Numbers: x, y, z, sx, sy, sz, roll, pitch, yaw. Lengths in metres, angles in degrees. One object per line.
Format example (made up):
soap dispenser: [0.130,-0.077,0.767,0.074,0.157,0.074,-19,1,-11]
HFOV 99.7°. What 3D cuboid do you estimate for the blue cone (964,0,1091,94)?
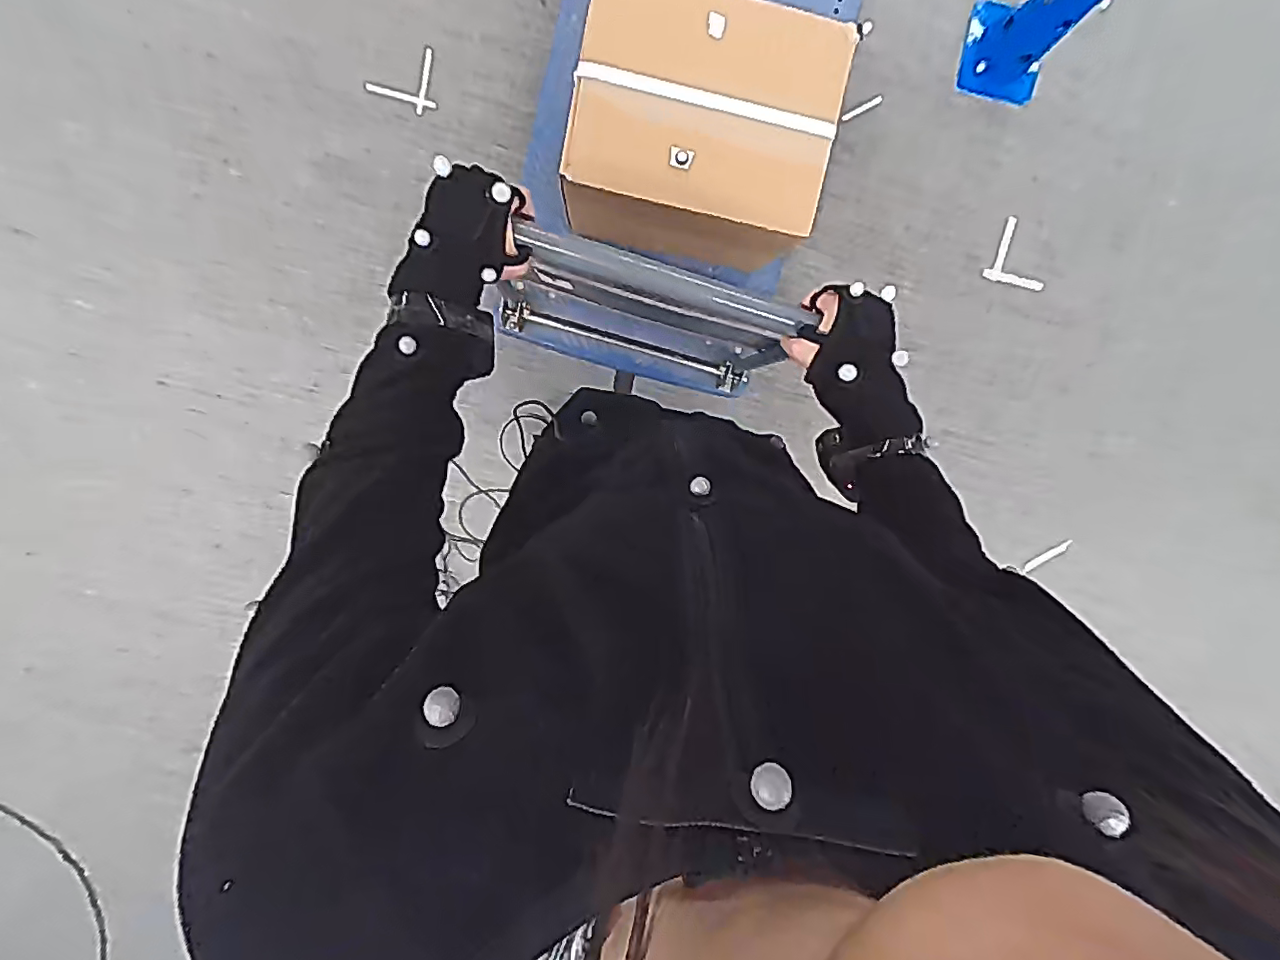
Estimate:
blue cone: [0.896,-1.013,1.140,0.193,0.380,0.192,9,99,-7]
